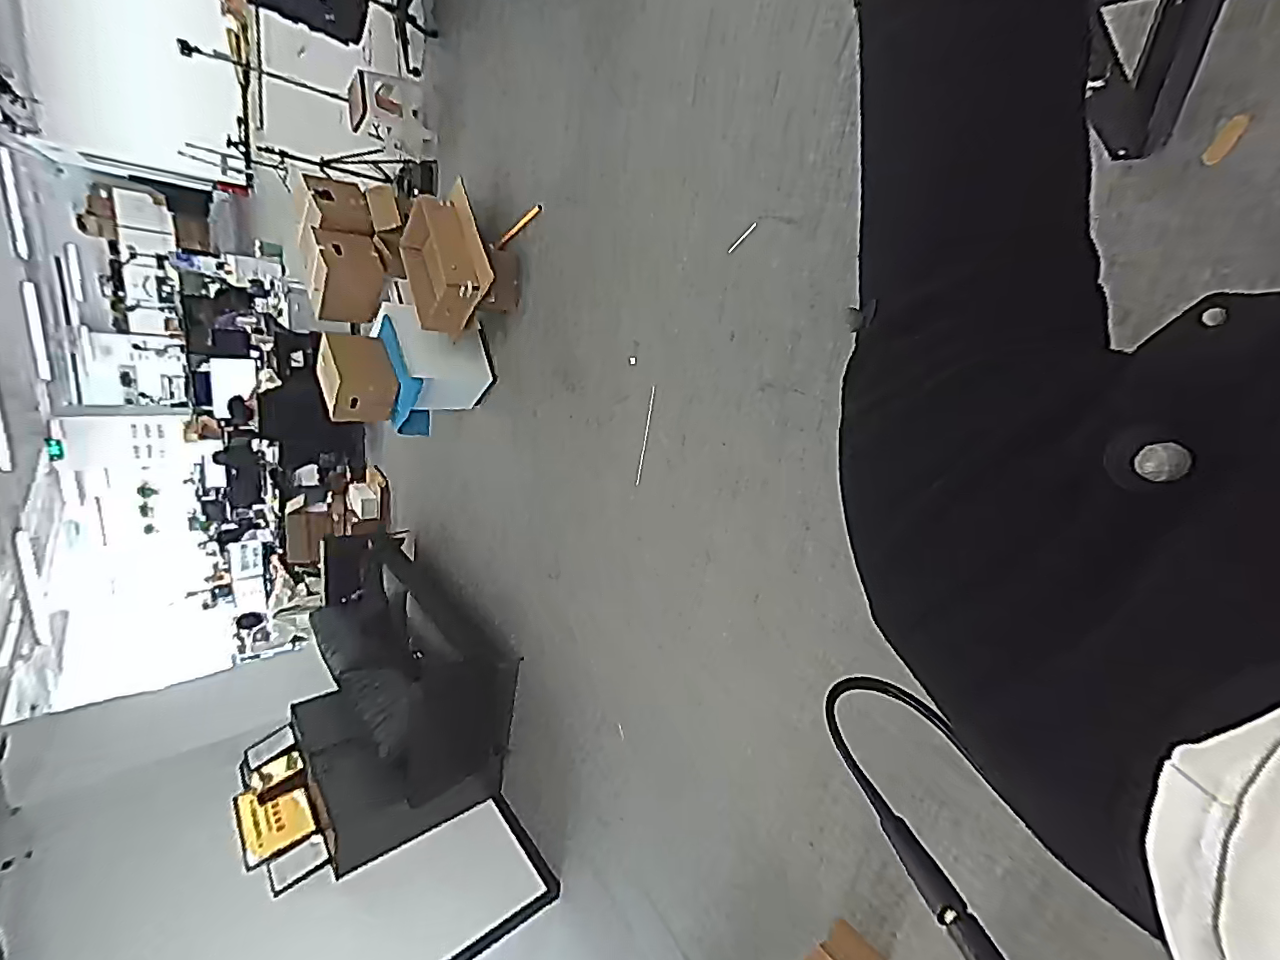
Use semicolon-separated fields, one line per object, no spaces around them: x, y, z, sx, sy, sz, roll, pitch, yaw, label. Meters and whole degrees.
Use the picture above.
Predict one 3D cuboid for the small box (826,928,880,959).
0.717;1.690;1.832;0.179;0.176;0.168;32;118;43;small box
